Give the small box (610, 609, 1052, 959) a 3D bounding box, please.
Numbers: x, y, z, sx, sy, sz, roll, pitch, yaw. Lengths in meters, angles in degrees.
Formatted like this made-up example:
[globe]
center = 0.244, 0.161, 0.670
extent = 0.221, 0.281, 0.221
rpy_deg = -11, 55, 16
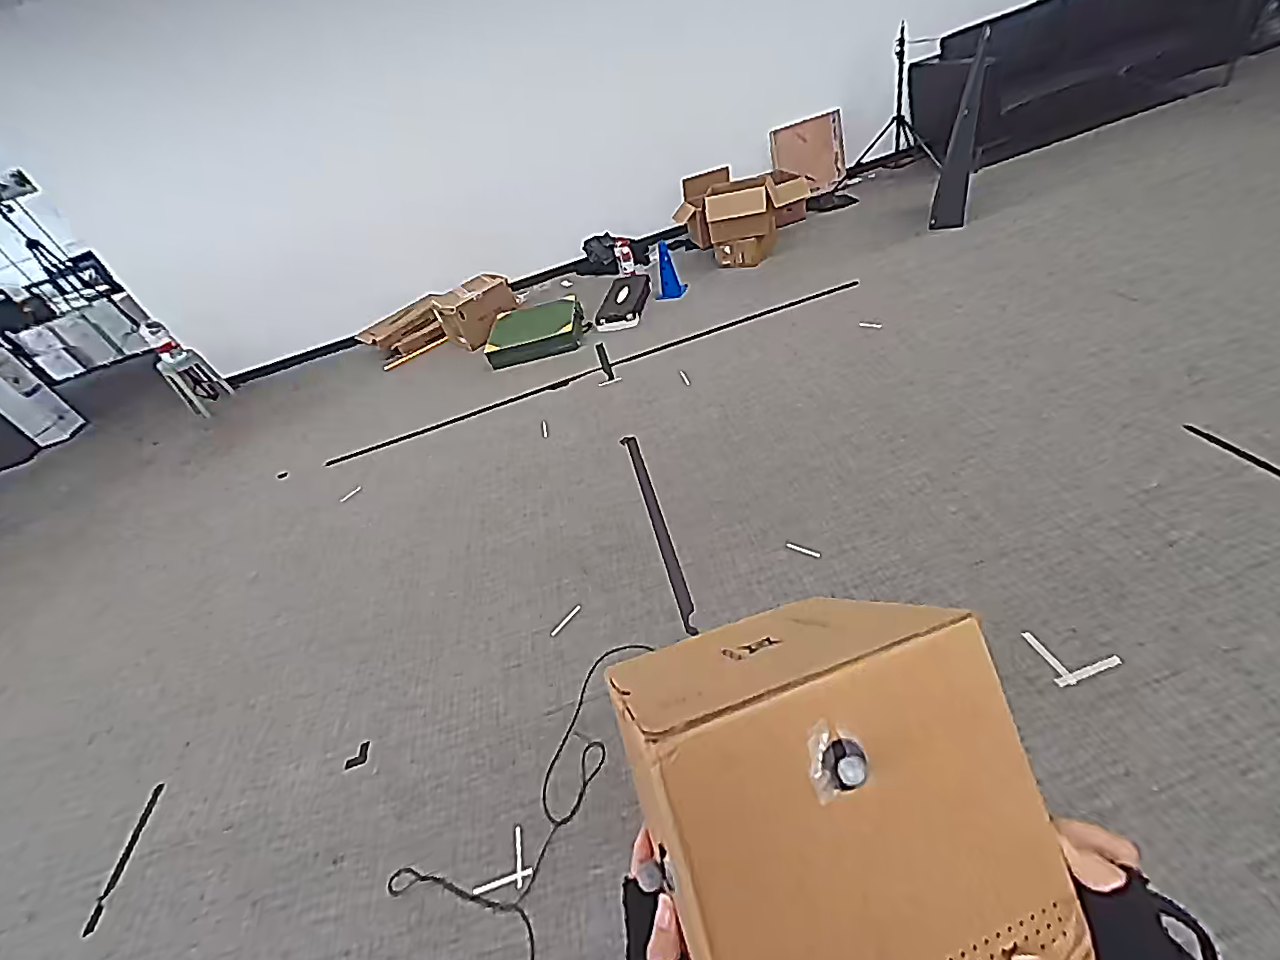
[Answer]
[small box]
center = 0.094, 0.190, 0.330
extent = 0.179, 0.168, 0.176
rpy_deg = -15, 83, -12
